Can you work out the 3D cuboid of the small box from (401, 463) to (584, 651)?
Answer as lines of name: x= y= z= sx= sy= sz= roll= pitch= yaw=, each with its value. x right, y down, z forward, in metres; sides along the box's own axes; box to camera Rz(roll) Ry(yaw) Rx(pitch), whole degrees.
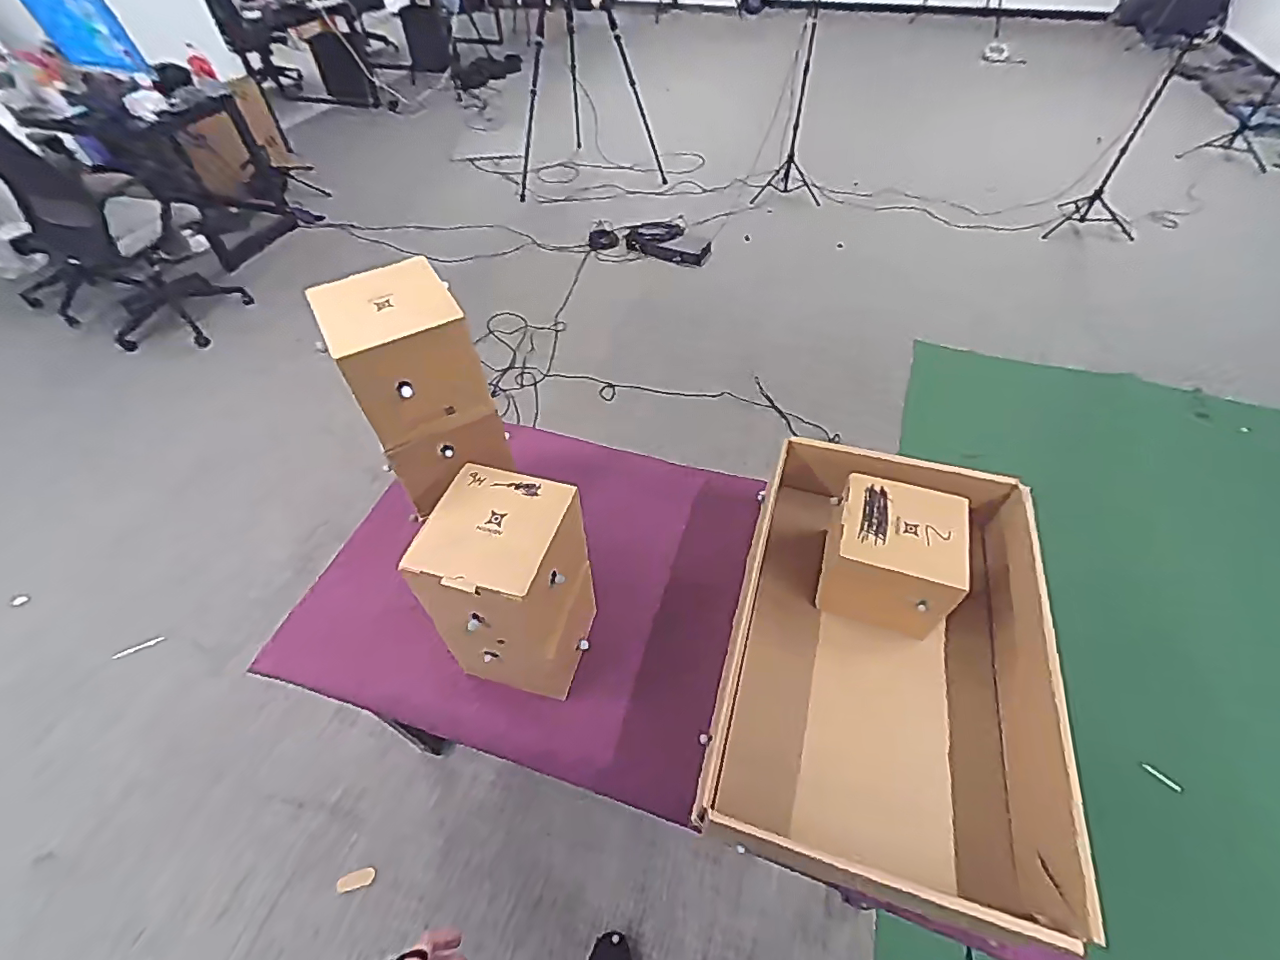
small box: x=-0.182 y=0.108 z=0.736 sx=0.168 sy=0.176 sz=0.179 roll=12 pitch=51 yaw=11

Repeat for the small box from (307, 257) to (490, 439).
small box: x=-0.333 y=-0.180 z=0.769 sx=0.168 sy=0.176 sz=0.179 roll=-26 pitch=56 yaw=-19

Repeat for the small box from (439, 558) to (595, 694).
small box: x=-0.181 y=0.218 z=0.858 sx=0.179 sy=0.176 sz=0.168 roll=11 pitch=51 yaw=10

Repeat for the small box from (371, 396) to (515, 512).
small box: x=-0.327 y=-0.076 z=0.893 sx=0.179 sy=0.176 sz=0.168 roll=-24 pitch=56 yaw=-18
